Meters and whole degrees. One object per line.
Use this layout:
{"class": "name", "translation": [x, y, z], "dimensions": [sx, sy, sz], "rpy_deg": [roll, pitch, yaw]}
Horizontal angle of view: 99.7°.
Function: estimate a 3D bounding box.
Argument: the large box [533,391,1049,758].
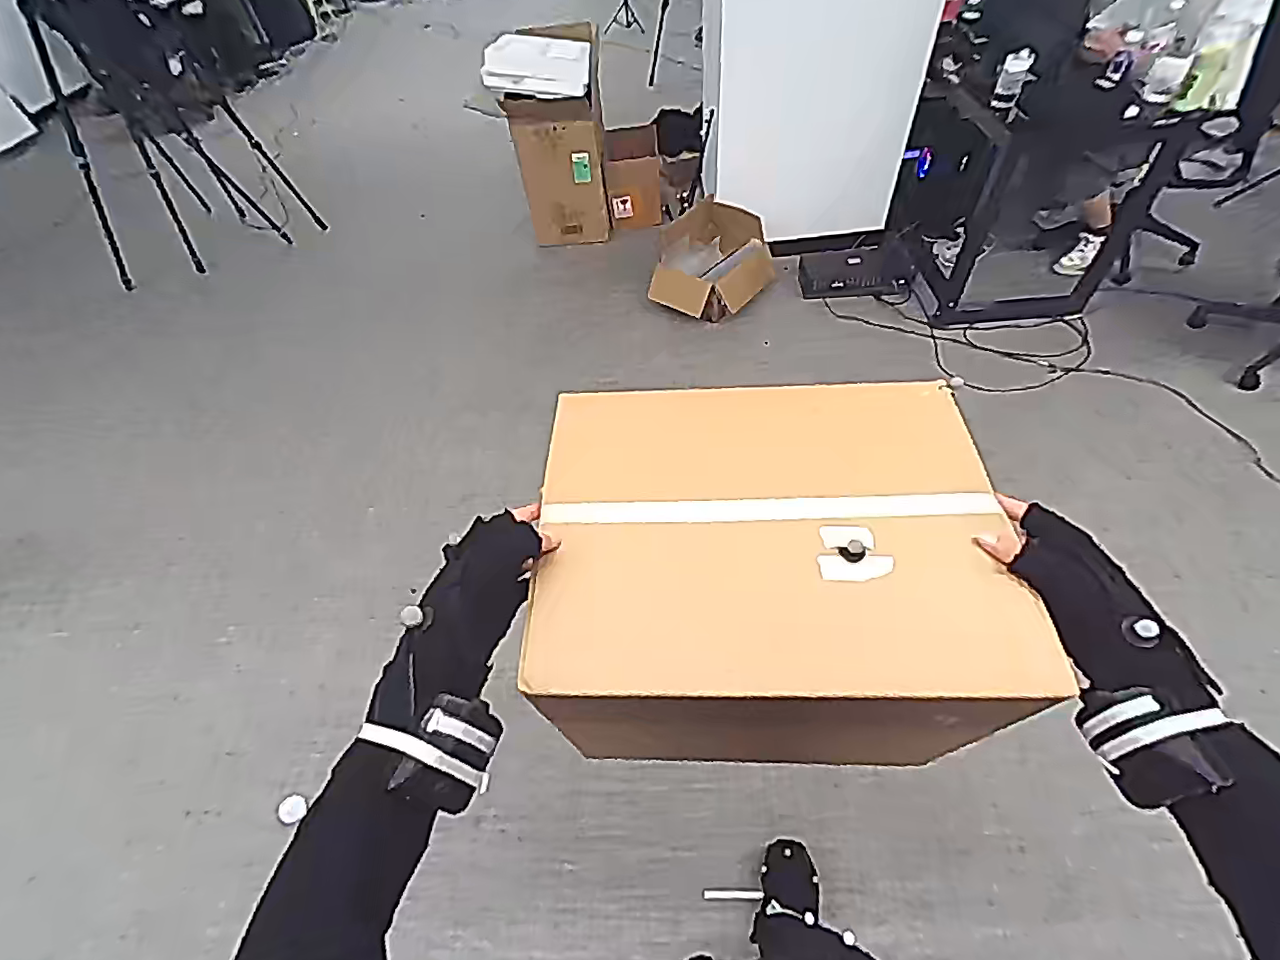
{"class": "large box", "translation": [0.121, 0.121, 0.621], "dimensions": [0.408, 0.320, 0.320], "rpy_deg": [-1, 55, 4]}
